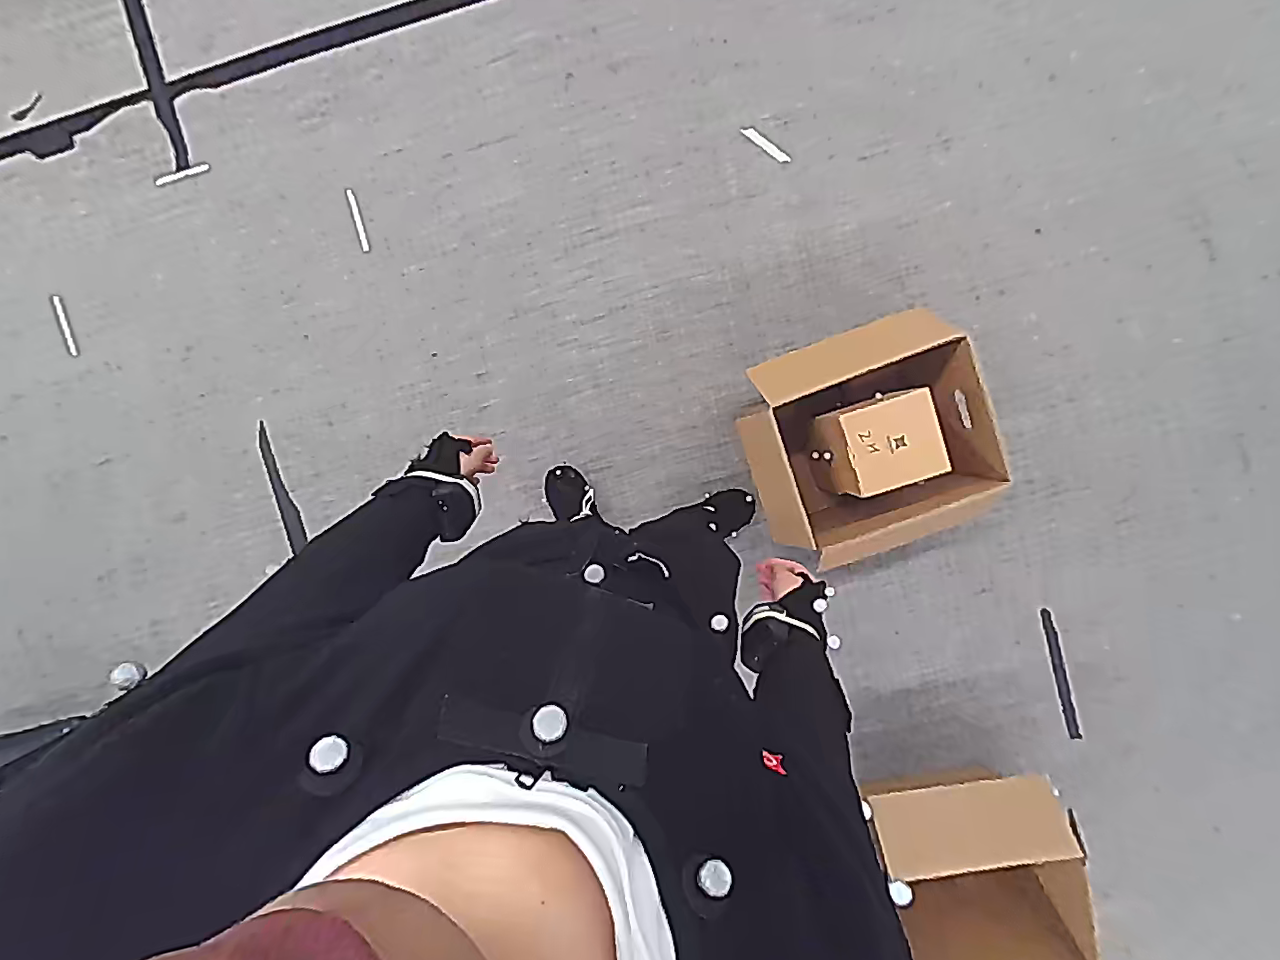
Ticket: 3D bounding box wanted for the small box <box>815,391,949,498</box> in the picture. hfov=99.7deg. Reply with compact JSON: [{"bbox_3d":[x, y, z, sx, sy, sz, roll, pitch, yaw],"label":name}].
[{"bbox_3d":[0.482,-0.074,1.098,0.179,0.176,0.168,-18,94,3],"label":"small box"}]
